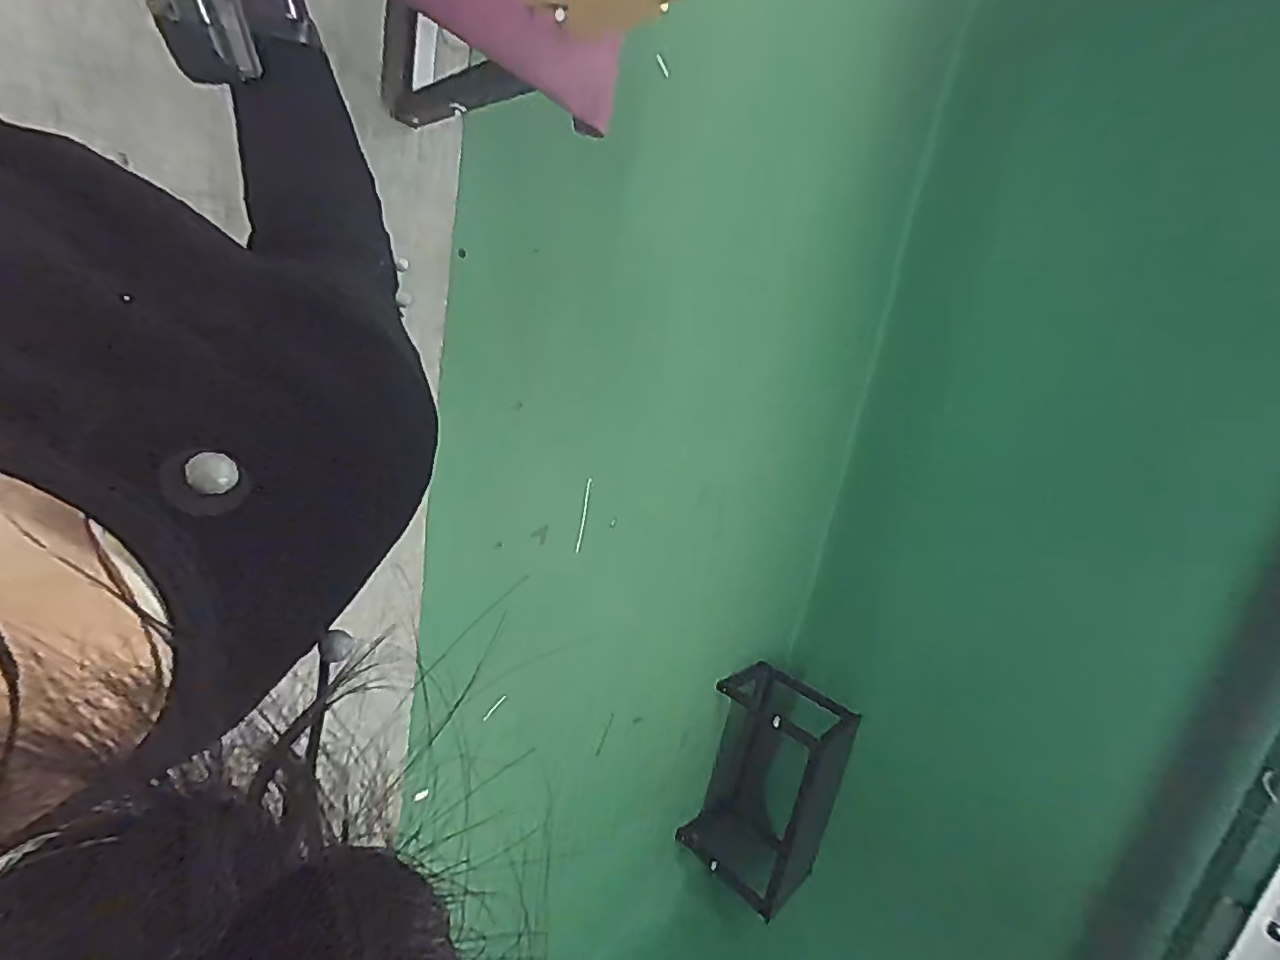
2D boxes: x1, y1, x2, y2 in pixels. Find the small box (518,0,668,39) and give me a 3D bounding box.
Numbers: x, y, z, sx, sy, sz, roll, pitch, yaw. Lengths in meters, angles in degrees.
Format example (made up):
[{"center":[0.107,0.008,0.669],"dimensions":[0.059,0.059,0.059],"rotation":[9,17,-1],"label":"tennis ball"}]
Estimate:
[{"center":[-0.069,-0.715,0.701],"dimensions":[0.179,0.176,0.168],"rotation":[-7,111,-46],"label":"small box"}]
